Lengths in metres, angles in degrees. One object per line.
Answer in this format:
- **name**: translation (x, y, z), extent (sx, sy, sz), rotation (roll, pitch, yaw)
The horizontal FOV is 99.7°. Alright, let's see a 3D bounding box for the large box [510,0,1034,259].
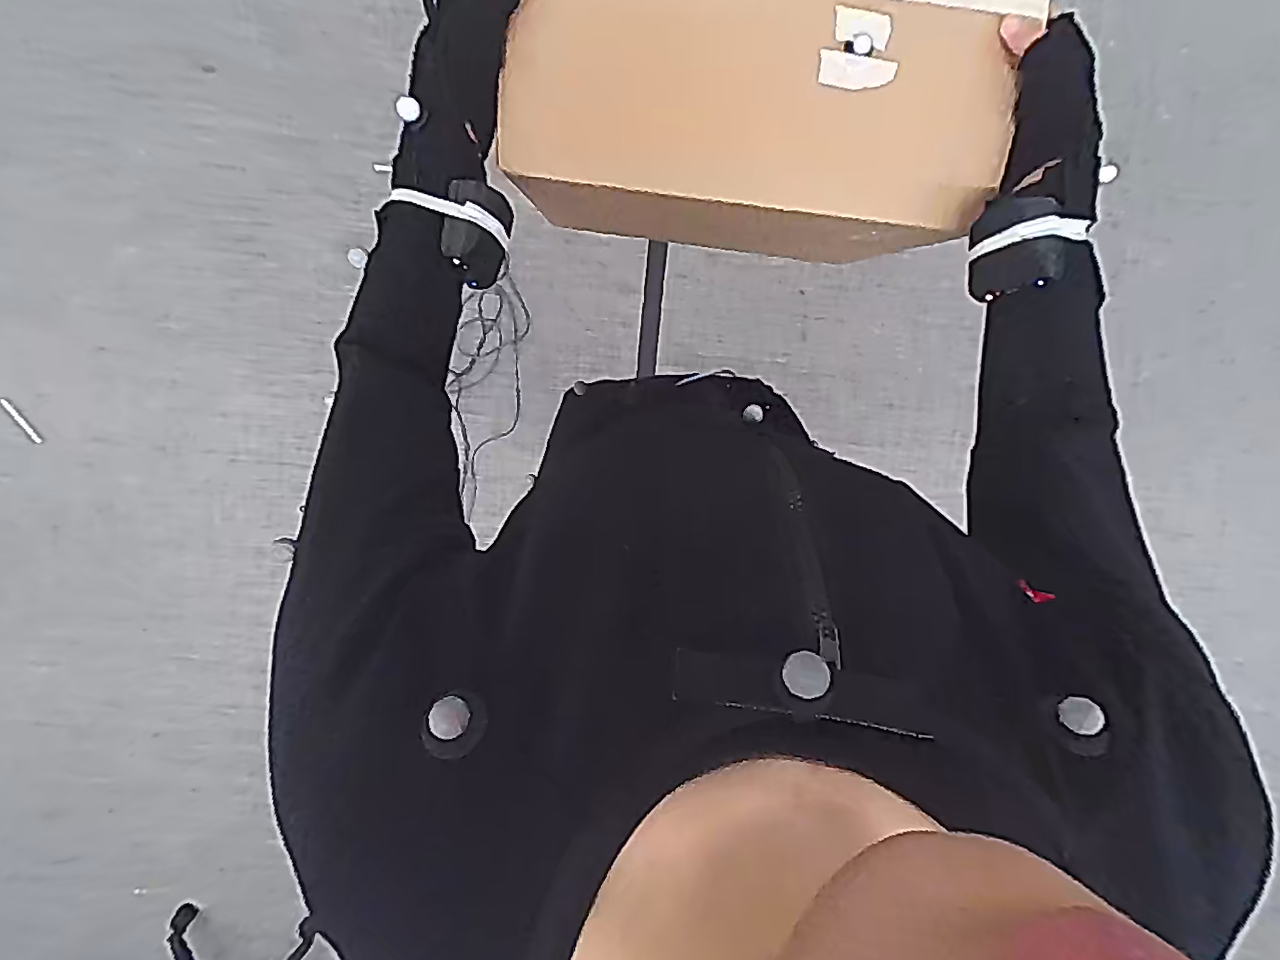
- **large box**: translation (0.099, -0.422, 0.550), extent (0.408, 0.320, 0.320), rotation (6, 109, -4)
